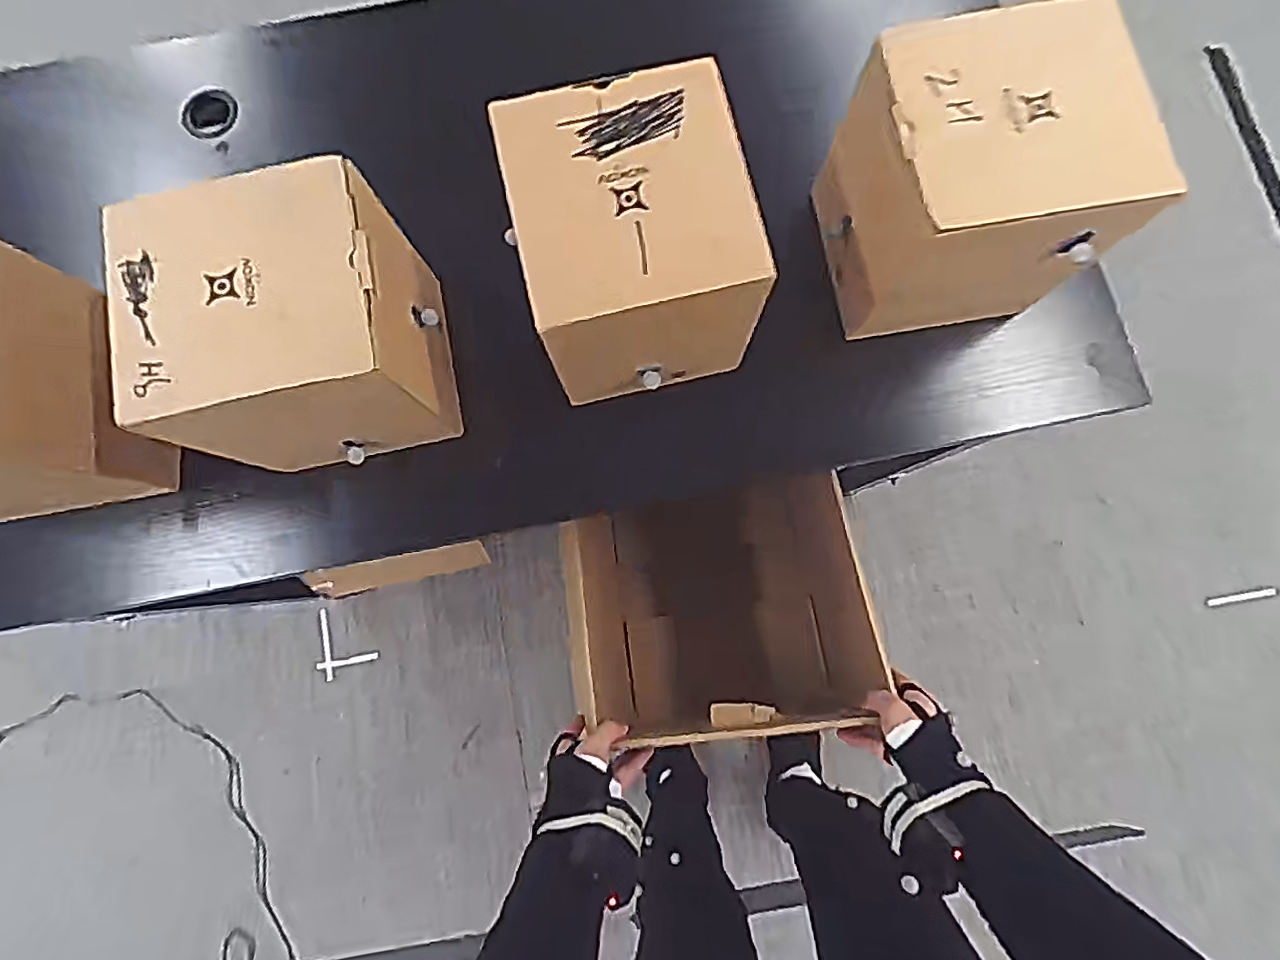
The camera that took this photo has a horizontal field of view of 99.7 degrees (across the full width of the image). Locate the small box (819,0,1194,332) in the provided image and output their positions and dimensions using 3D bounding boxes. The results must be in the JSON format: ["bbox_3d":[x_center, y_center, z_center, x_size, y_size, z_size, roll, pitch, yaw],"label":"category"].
[{"bbox_3d":[0.272,-0.242,0.448,0.179,0.176,0.168,-9,79,0],"label":"small box"}]

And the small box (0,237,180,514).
[{"bbox_3d":[-0.524,-0.070,0.434,0.179,0.176,0.168,-9,81,-2],"label":"small box"}]

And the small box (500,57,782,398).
[{"bbox_3d":[-0.002,-0.187,0.446,0.168,0.176,0.179,-13,81,-1],"label":"small box"}]

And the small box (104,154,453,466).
[{"bbox_3d":[-0.265,-0.119,0.439,0.179,0.176,0.168,-12,80,-3],"label":"small box"}]
